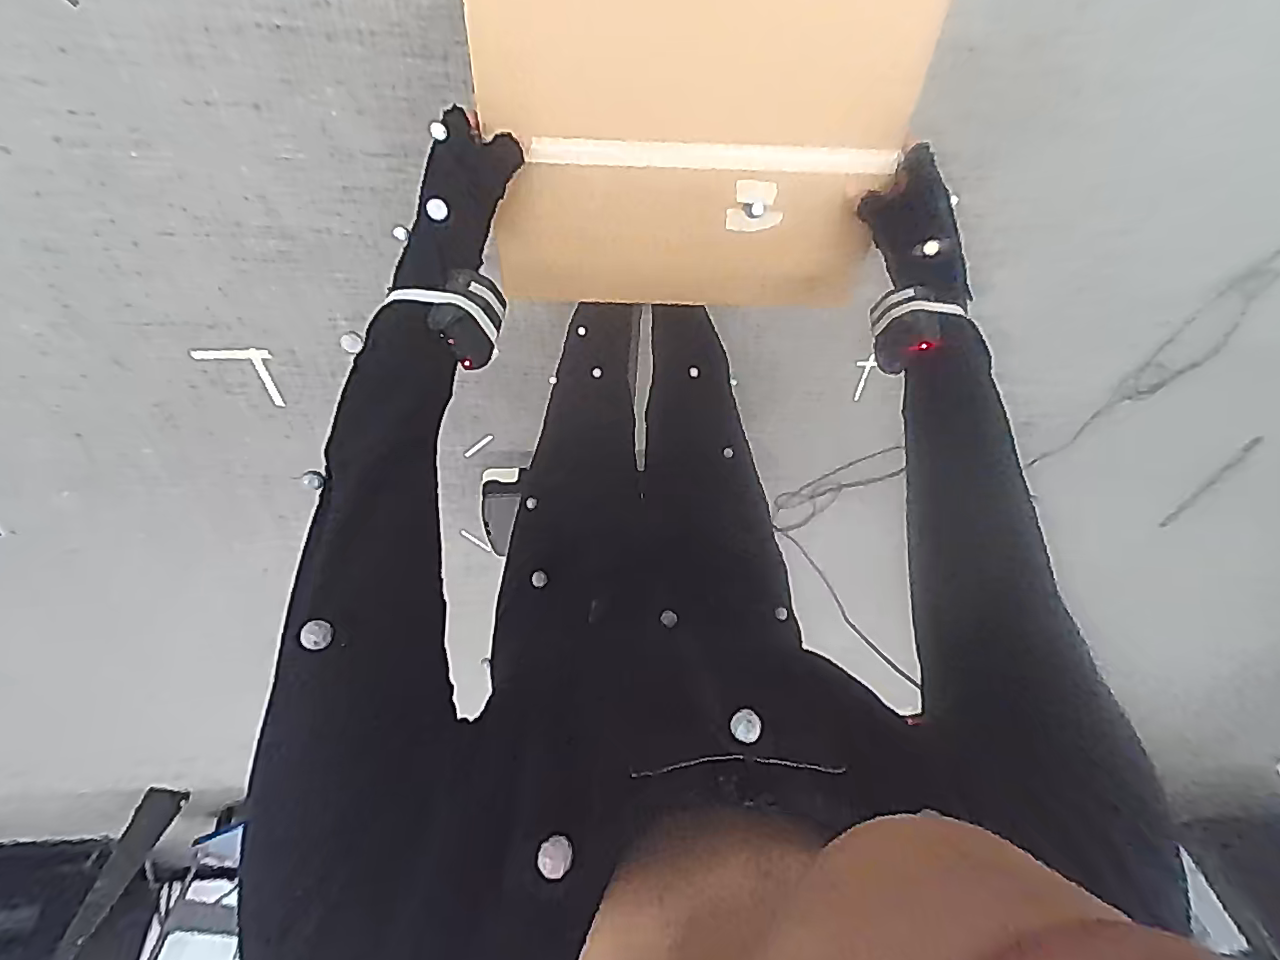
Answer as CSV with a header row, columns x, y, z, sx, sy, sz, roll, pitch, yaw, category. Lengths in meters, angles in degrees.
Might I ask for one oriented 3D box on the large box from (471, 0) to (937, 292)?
x,y,z,sx,sy,sz,roll,pitch,yaw,category
0.046,-0.434,0.635,0.408,0.320,0.320,-1,135,-4,large box
